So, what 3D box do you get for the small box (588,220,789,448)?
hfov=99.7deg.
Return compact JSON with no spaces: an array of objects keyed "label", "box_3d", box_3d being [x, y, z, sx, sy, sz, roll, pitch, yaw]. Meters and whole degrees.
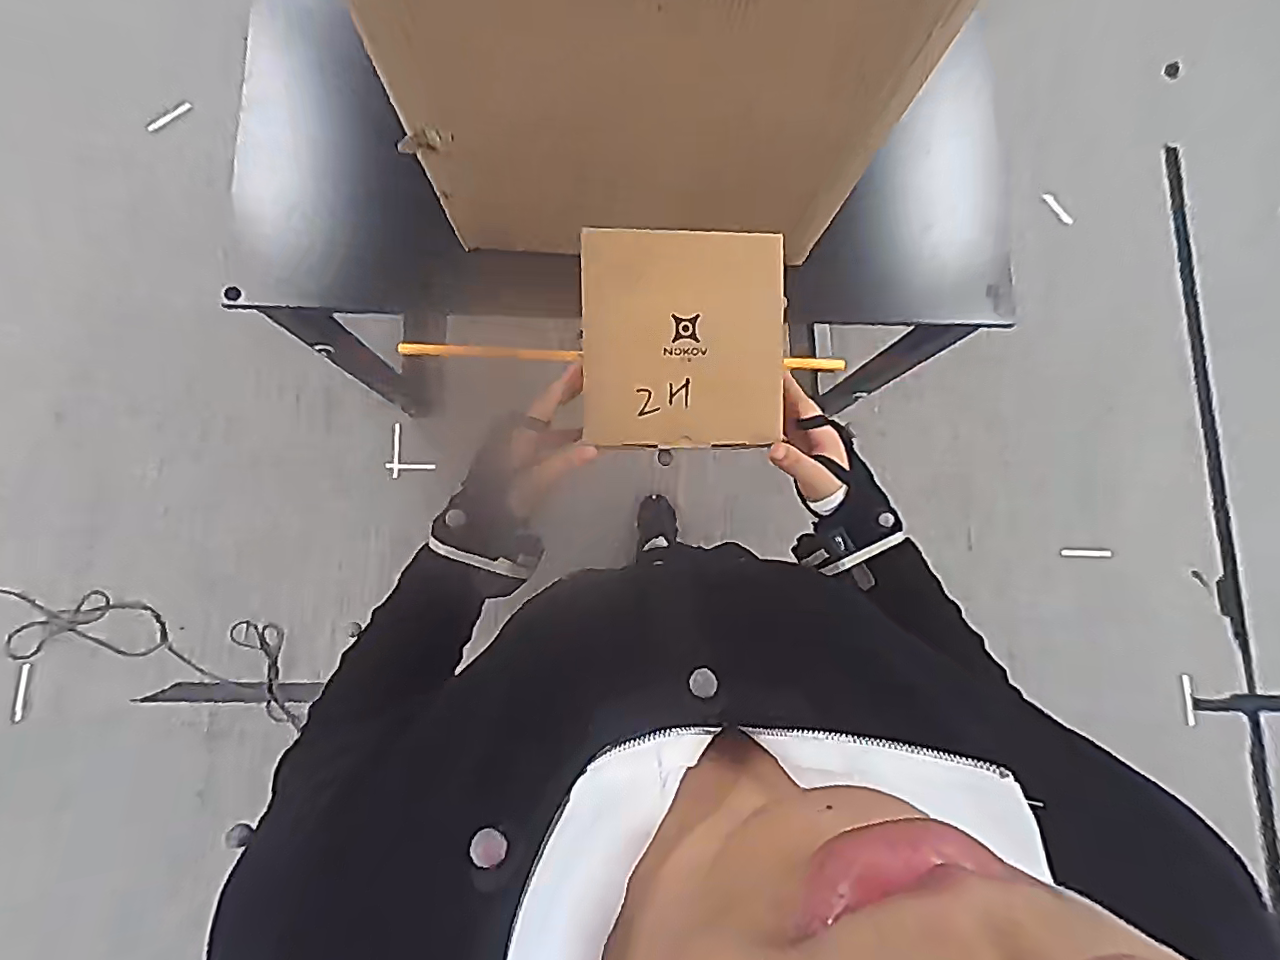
[{"label":"small box","box_3d":[0.034,-0.122,0.518,0.168,0.176,0.179,-1,92,-4]}]
